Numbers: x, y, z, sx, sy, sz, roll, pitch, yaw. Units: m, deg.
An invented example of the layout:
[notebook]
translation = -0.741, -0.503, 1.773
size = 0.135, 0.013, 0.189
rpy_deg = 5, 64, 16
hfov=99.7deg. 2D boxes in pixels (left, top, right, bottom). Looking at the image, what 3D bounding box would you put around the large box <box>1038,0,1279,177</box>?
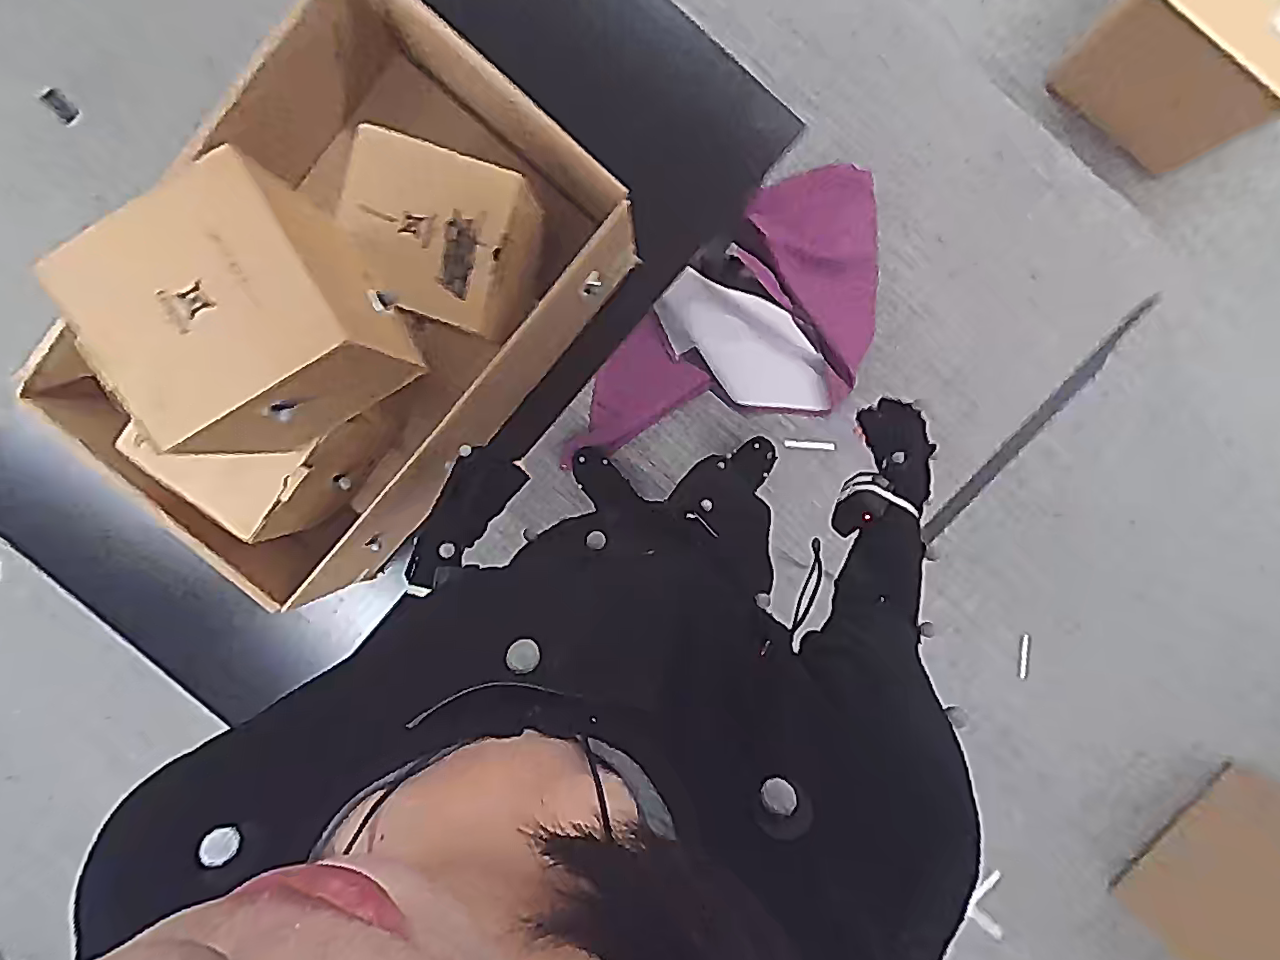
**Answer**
[large box]
translation = 1.279, -1.022, 1.265
size = 0.408, 0.320, 0.320
rpy_deg = 38, 94, -3
